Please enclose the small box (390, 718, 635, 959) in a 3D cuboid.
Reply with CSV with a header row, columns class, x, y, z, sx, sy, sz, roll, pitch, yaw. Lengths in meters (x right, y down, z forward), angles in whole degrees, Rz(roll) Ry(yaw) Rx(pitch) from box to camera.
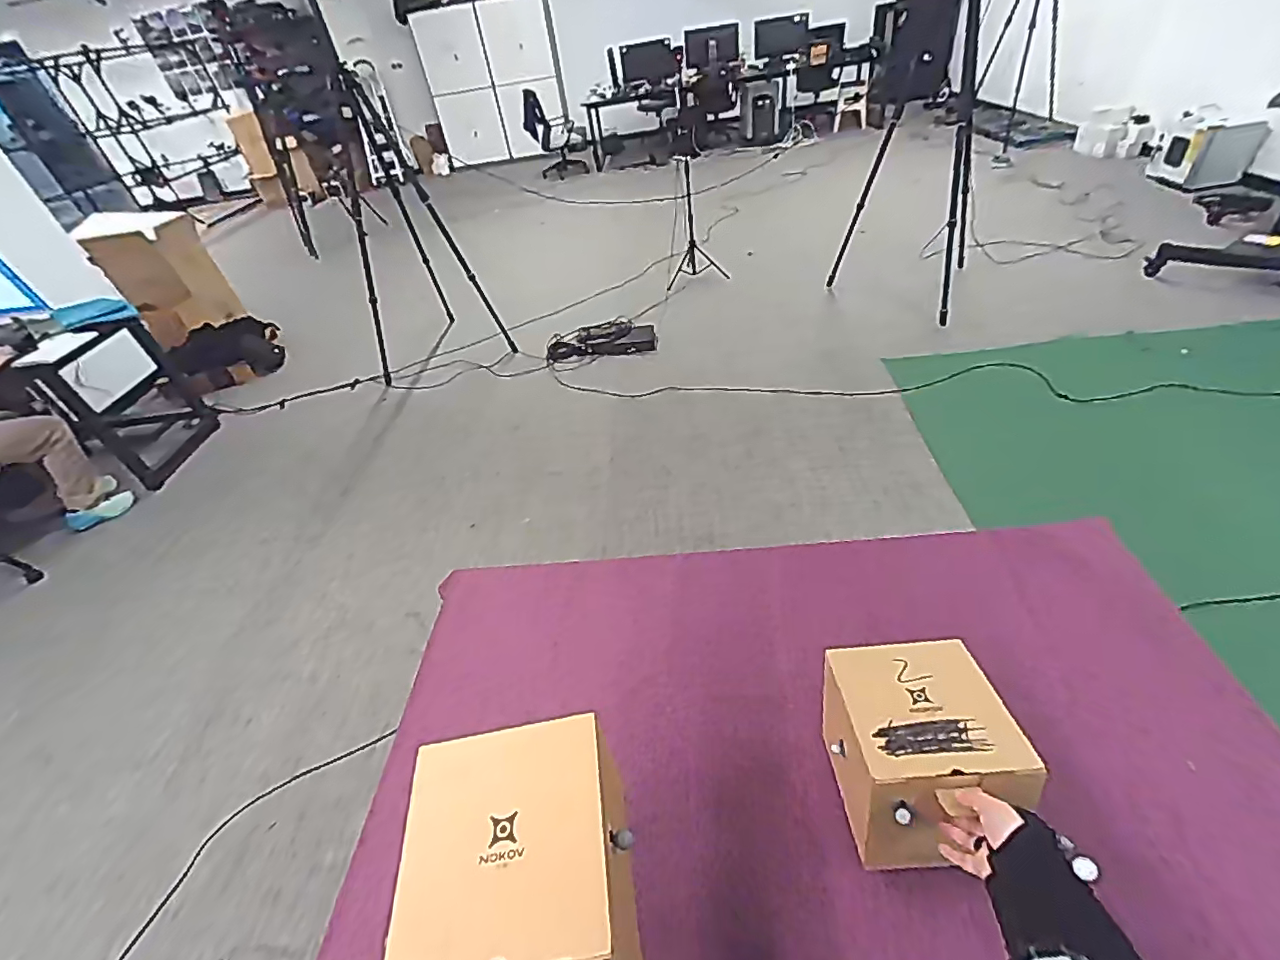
class,x,y,z,sx,sy,sz,roll,pitch,yaw
small box,-0.102,0.354,0.500,0.168,0.176,0.179,-11,42,-1
